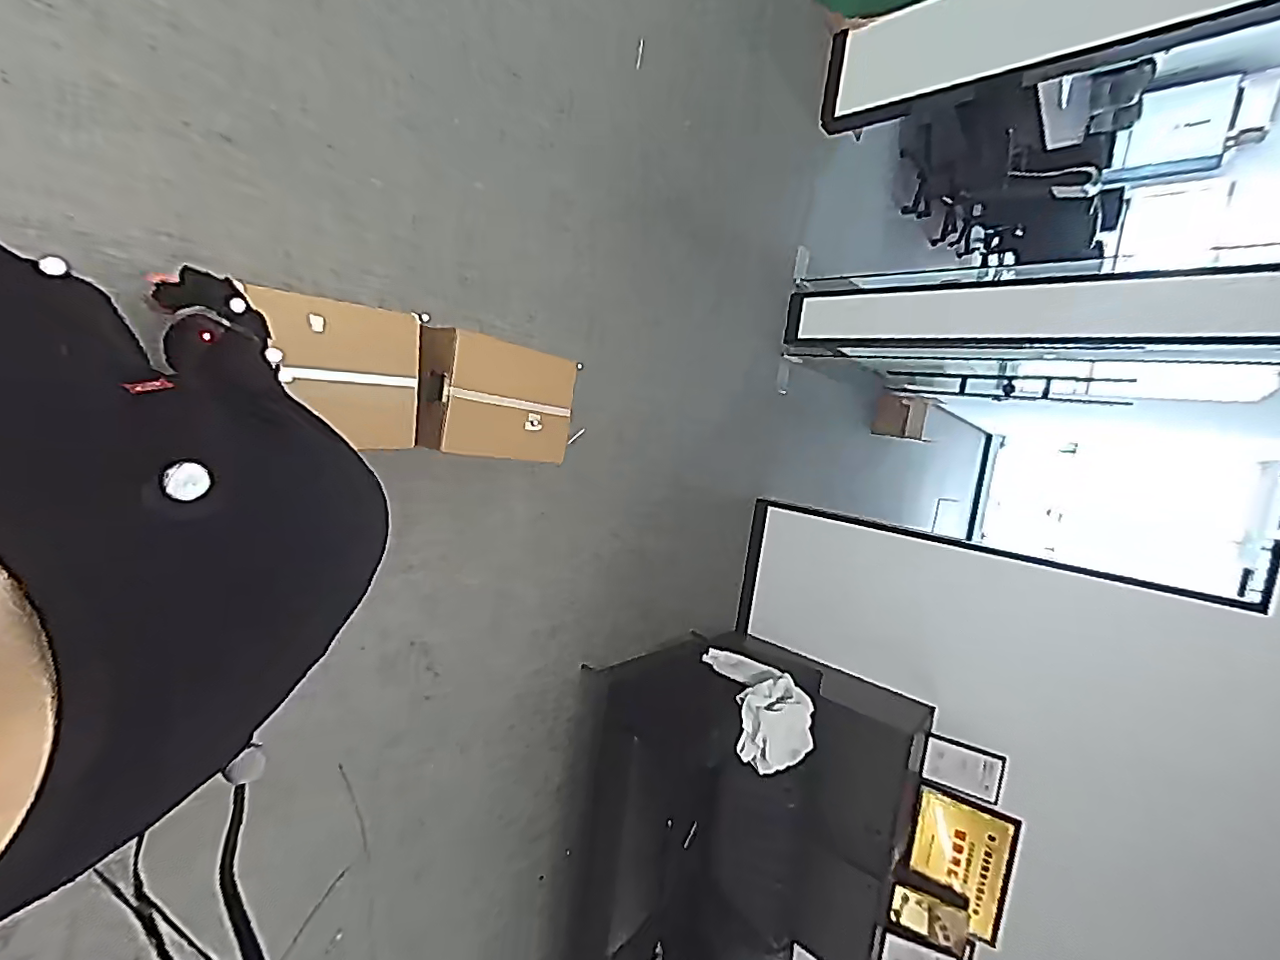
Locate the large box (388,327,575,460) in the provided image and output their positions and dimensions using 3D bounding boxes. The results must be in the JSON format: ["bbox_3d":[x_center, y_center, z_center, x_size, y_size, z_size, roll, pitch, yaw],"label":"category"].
[{"bbox_3d":[-0.455,-0.241,1.560,0.408,0.320,0.320,4,97,-51],"label":"large box"}]
